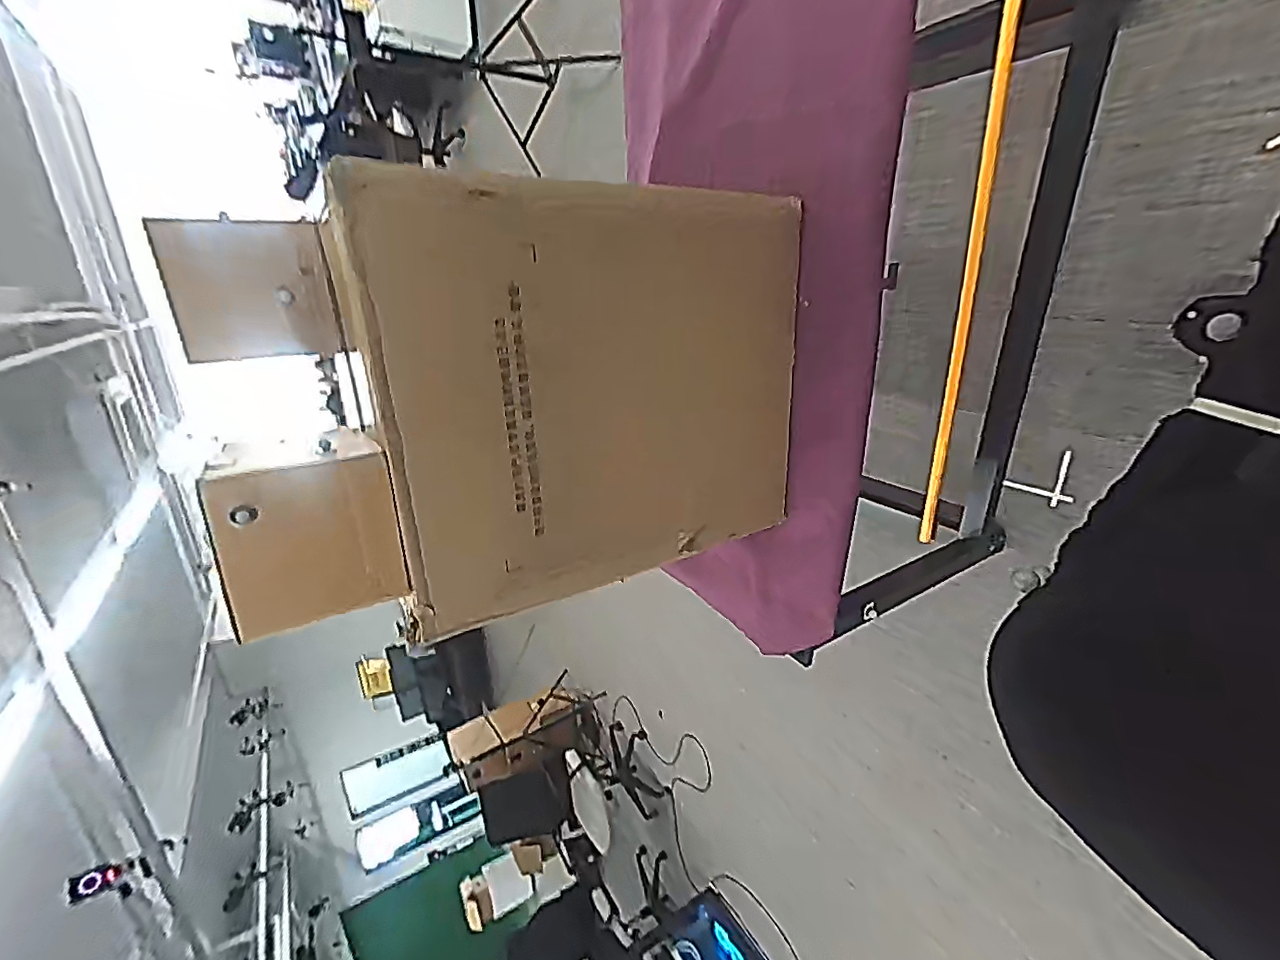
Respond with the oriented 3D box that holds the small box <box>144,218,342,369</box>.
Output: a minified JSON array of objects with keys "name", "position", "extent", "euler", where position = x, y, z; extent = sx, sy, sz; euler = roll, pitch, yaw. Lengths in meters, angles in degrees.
[{"name":"small box","position":[-0.508,-0.249,0.718],"extent":[0.179,0.176,0.168],"euler":[28,127,52]}]
